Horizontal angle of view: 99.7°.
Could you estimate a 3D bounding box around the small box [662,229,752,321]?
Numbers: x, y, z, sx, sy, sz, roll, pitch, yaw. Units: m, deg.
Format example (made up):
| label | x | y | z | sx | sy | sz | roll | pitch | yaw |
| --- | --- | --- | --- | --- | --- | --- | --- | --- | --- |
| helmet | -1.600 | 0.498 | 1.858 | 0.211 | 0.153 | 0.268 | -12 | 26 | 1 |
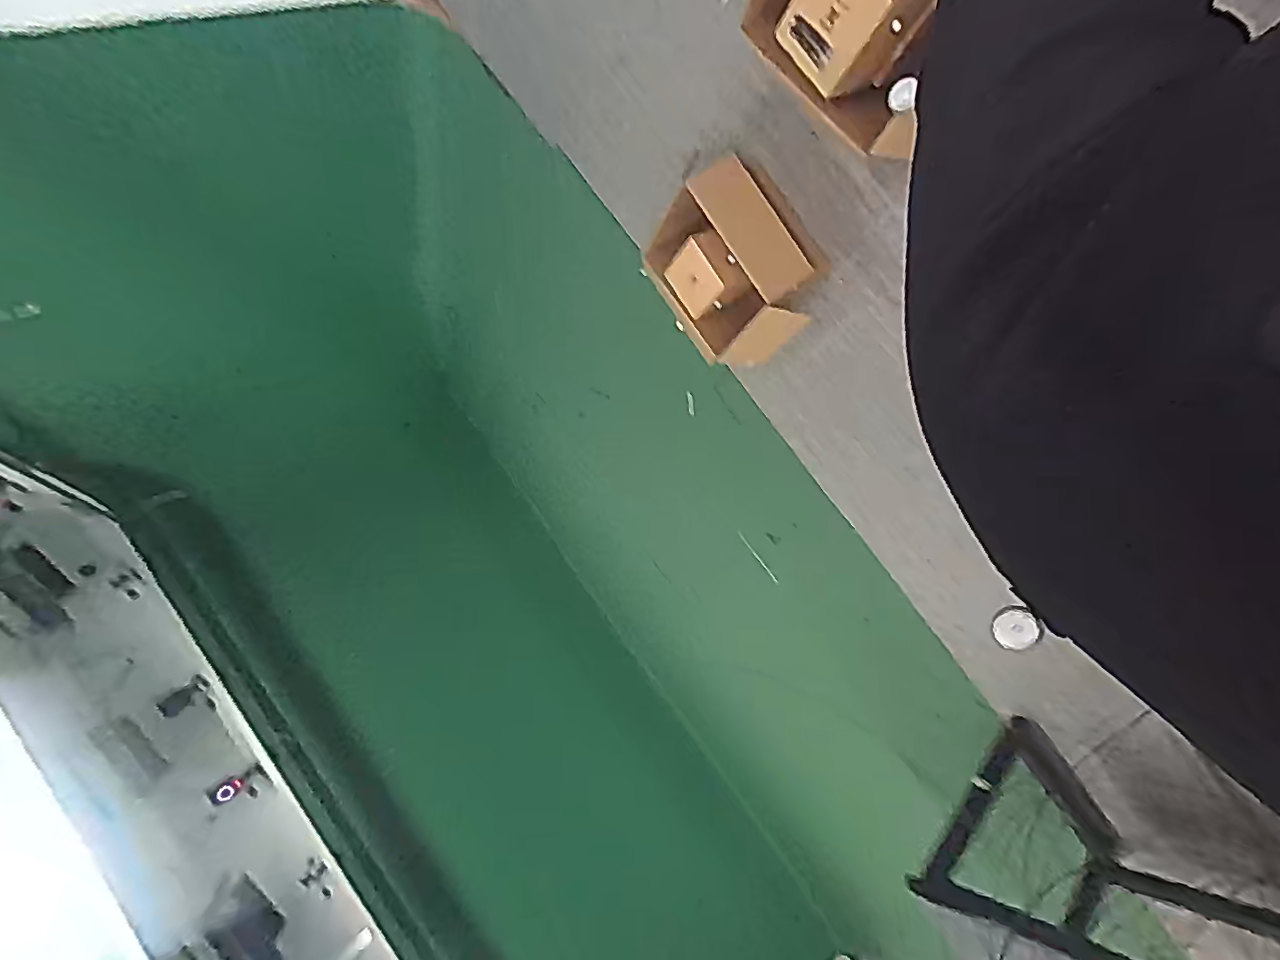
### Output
| label | x | y | z | sx | sy | sz | roll | pitch | yaw |
| --- | --- | --- | --- | --- | --- | --- | --- | --- | --- |
| small box | 0.204 | -0.606 | 1.593 | 0.168 | 0.176 | 0.179 | 57 | 150 | 1 |
